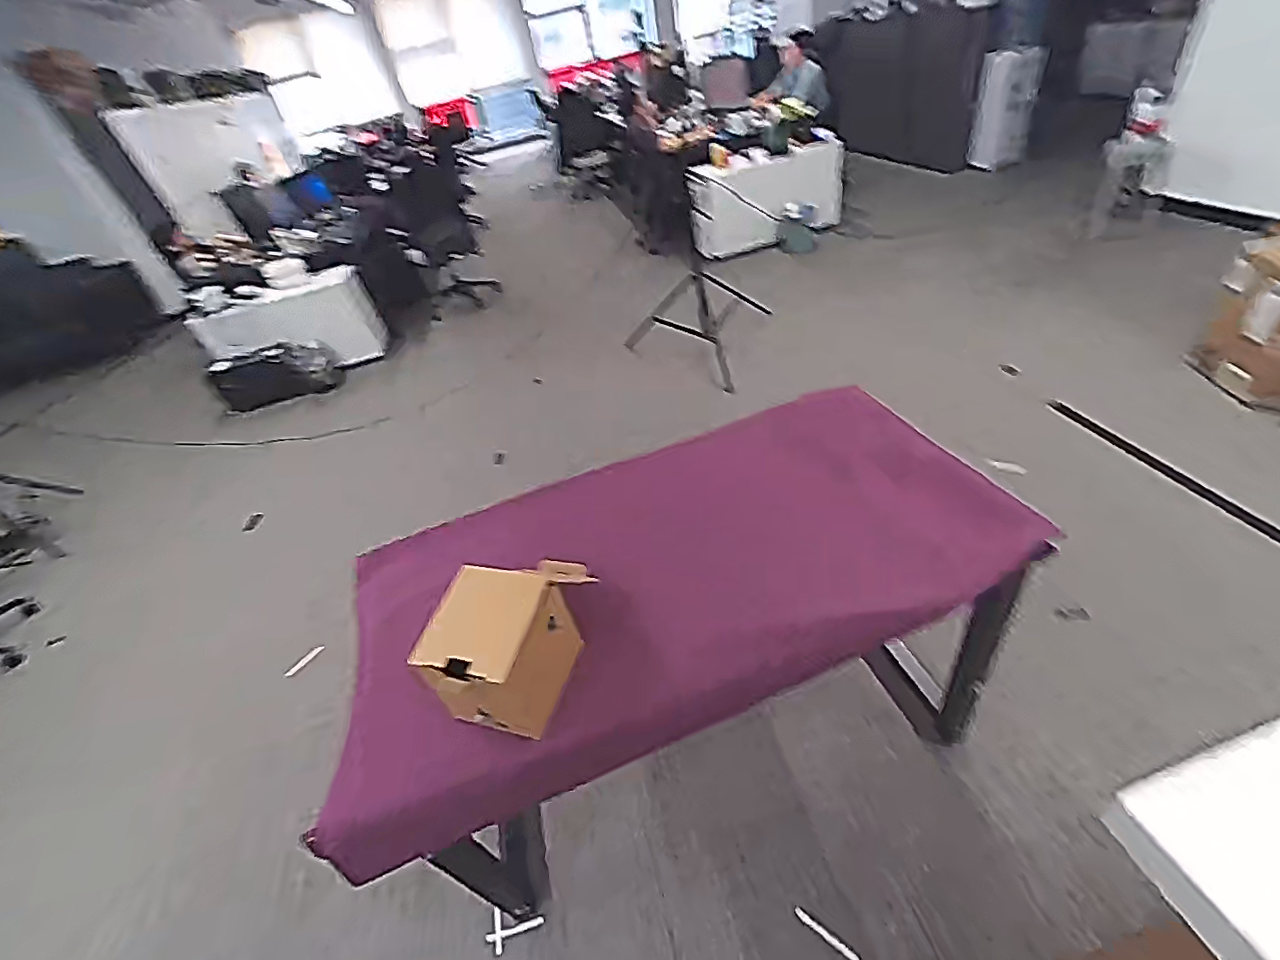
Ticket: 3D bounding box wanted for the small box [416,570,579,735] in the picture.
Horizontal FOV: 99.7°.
[{"bbox_3d":[-0.214,0.274,0.872,0.168,0.176,0.179,3,42,22],"label":"small box"}]
